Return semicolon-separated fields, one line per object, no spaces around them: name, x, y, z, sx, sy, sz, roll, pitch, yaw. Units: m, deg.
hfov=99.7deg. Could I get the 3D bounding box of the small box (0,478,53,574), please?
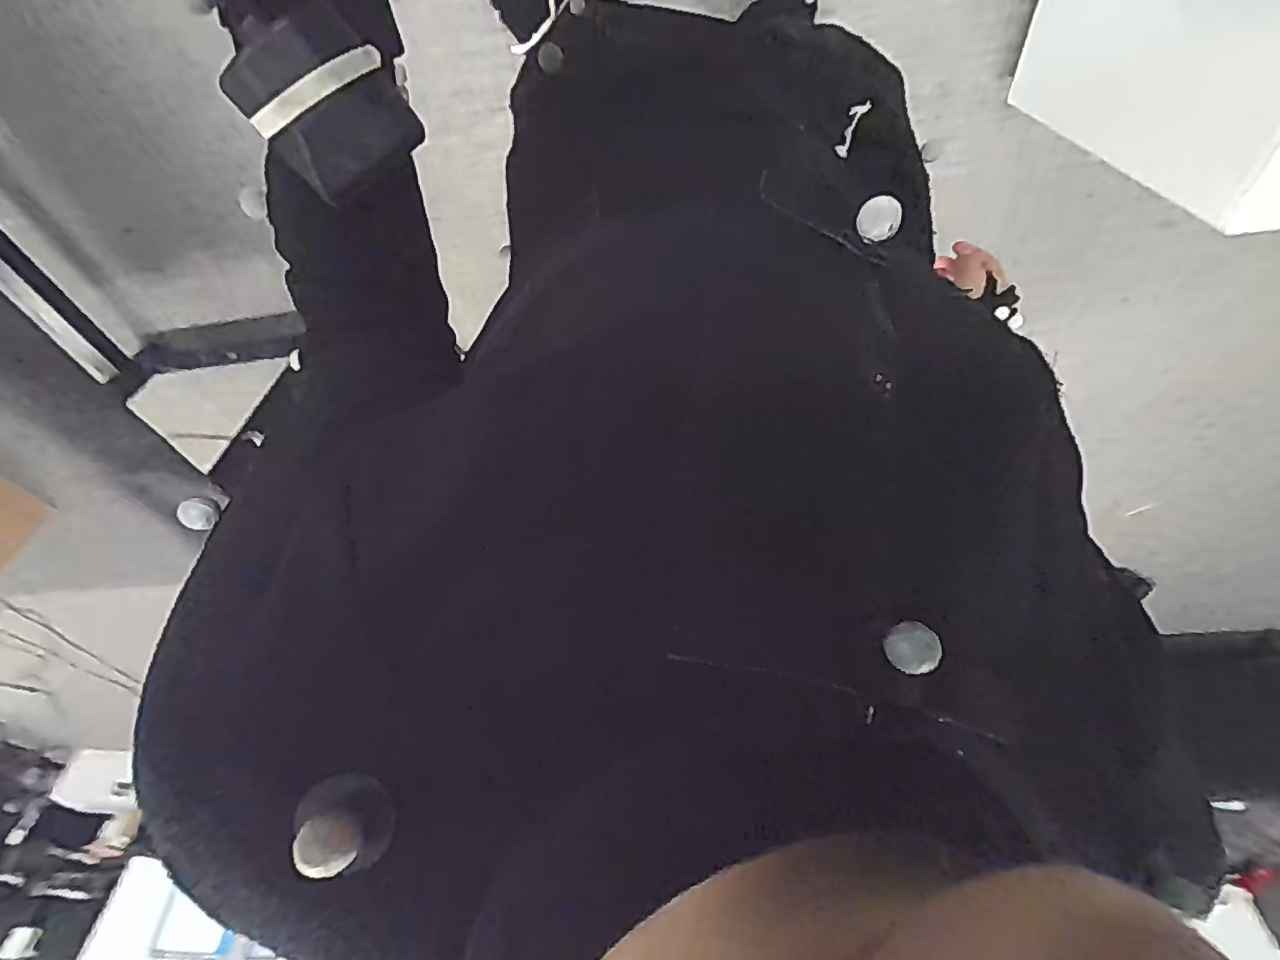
small box;-0.940;0.059;0.681;0.168;0.176;0.179;-7;137;11
